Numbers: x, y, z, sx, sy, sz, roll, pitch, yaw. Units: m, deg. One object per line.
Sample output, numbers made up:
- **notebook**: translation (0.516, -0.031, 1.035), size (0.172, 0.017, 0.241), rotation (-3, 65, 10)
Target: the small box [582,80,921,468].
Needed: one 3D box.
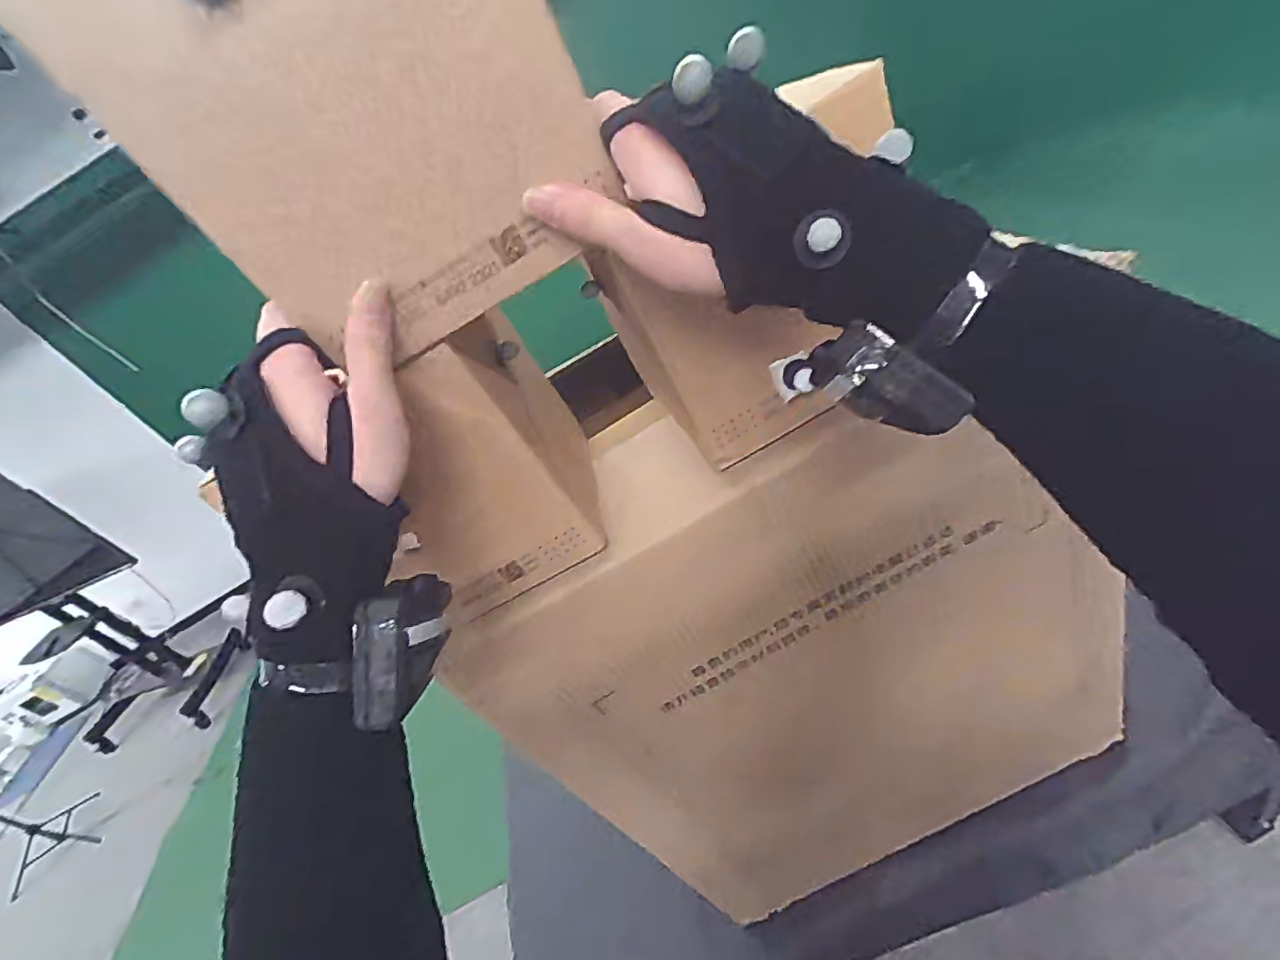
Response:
- **small box**: translation (0.063, -0.138, 0.384), size (0.168, 0.176, 0.179), rotation (-32, 33, 2)

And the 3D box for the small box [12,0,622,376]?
- **small box**: translation (-0.128, -0.182, 0.293), size (0.168, 0.176, 0.179), rotation (-29, 34, 4)

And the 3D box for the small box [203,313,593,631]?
- **small box**: translation (-0.146, -0.015, 0.398), size (0.168, 0.176, 0.179), rotation (-29, 31, 8)
